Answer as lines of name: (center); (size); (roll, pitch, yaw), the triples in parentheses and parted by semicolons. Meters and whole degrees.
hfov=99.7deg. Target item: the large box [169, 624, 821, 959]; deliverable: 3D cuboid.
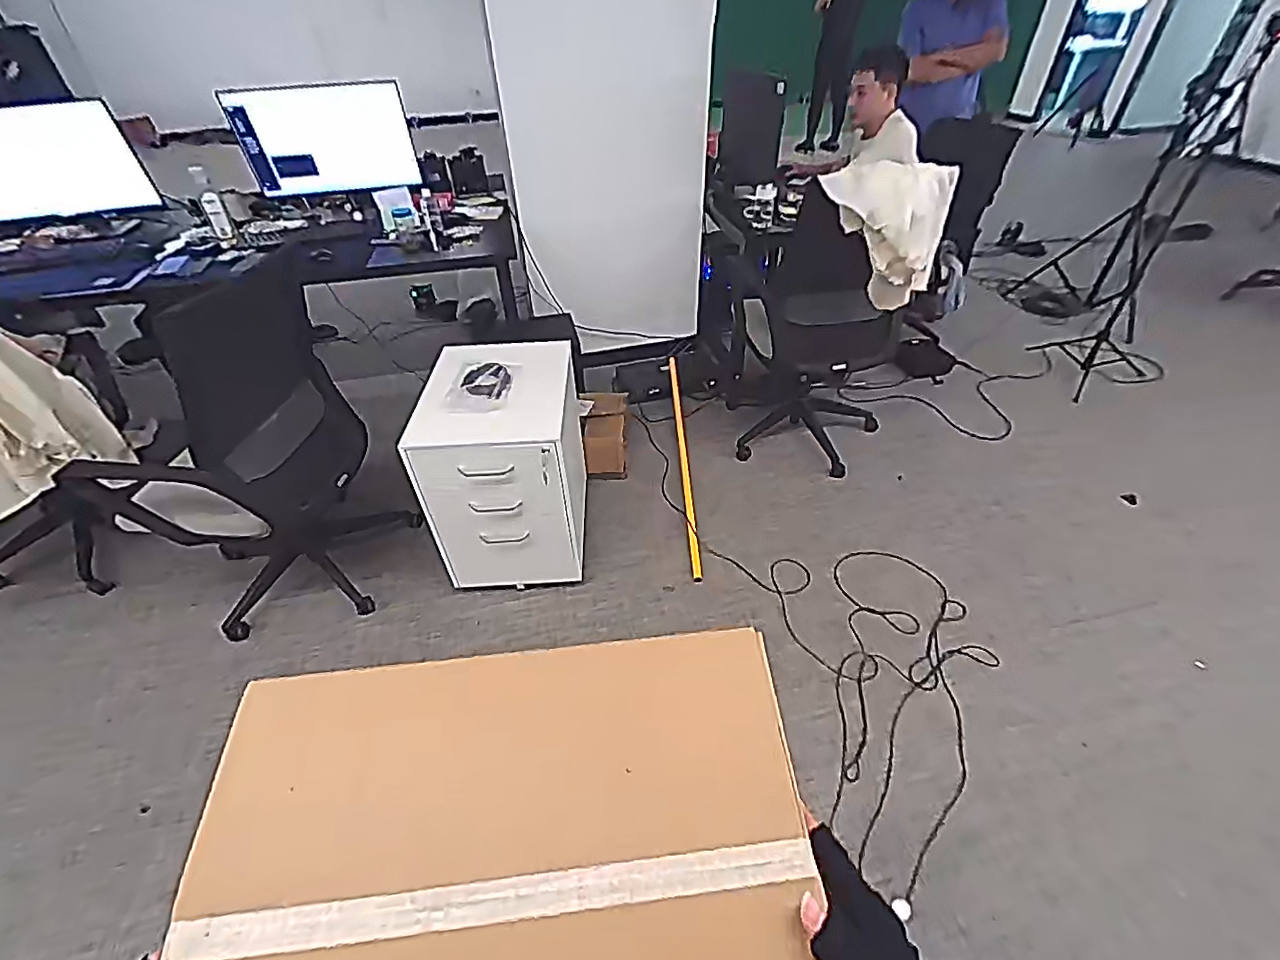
large box: (-0.091, 0.348, 0.475); (0.408, 0.320, 0.320); (-5, 54, -3)
